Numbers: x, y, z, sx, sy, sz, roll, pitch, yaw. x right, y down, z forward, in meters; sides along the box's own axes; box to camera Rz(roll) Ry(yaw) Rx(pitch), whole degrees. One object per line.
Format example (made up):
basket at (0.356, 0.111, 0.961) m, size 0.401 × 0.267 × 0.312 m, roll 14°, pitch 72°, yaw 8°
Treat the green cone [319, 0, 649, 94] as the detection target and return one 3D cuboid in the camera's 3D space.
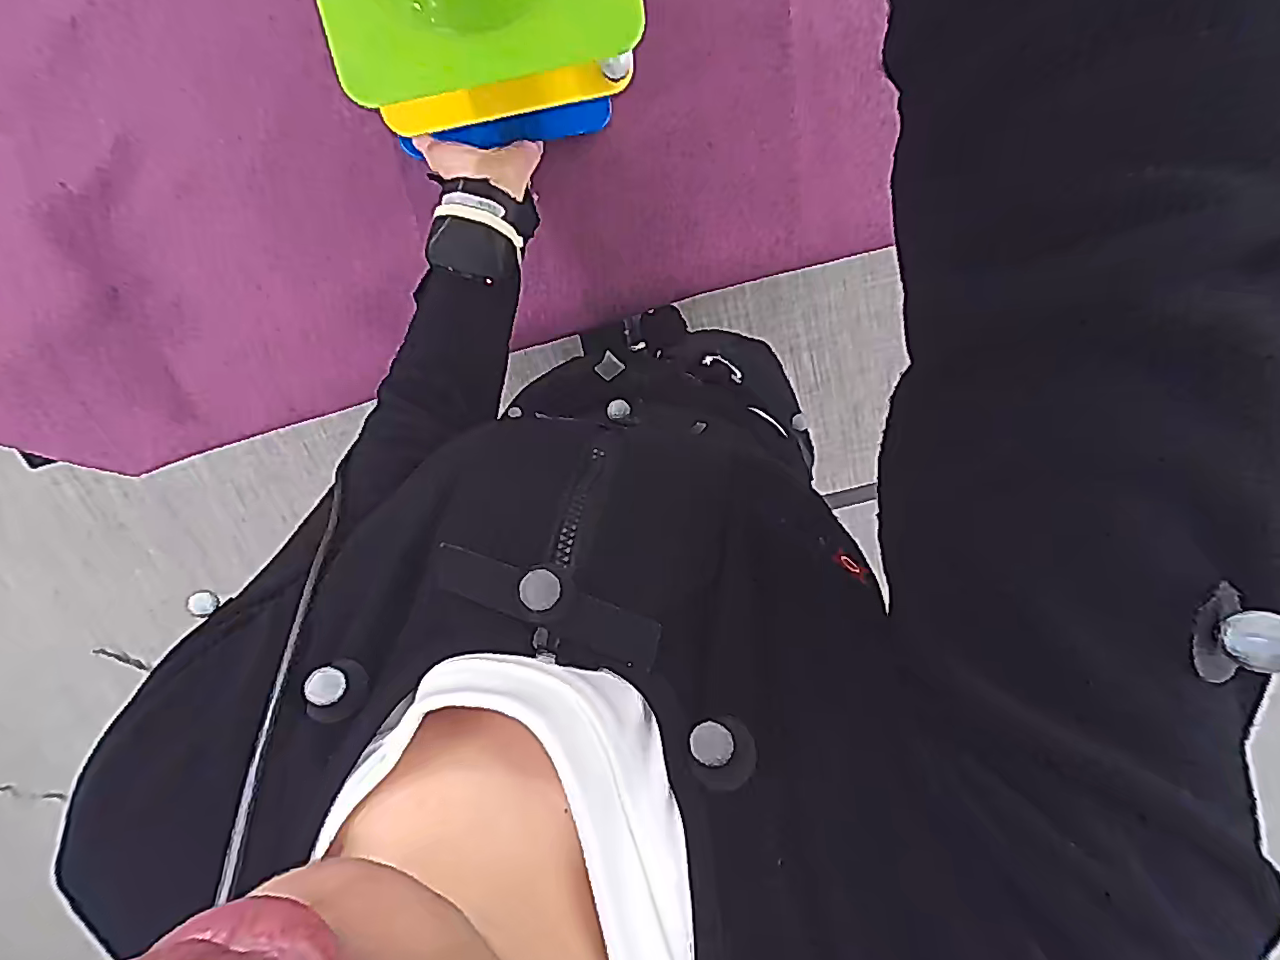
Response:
green cone at (-0.105, -0.313, 0.149) m, size 0.200 × 0.368 × 0.202 m, roll -11°, pitch 103°, yaw 2°
